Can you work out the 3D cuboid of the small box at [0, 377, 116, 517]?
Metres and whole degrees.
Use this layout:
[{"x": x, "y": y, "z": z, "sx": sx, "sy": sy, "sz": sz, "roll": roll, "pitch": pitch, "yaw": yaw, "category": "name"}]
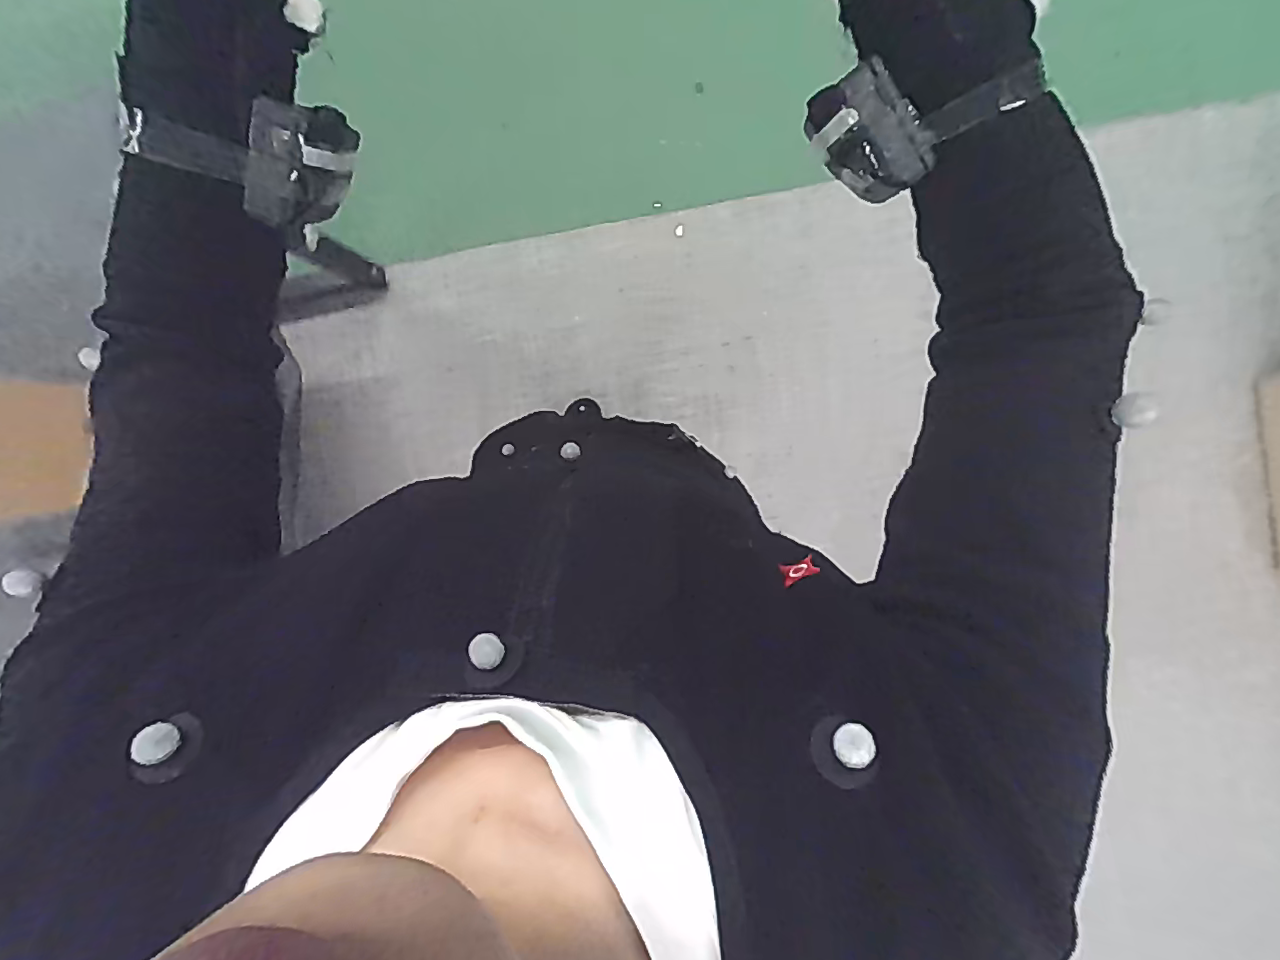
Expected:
[{"x": -0.817, "y": -0.035, "z": 0.676, "sx": 0.179, "sy": 0.176, "sz": 0.168, "roll": -9, "pitch": 96, "yaw": 4, "category": "small box"}]
